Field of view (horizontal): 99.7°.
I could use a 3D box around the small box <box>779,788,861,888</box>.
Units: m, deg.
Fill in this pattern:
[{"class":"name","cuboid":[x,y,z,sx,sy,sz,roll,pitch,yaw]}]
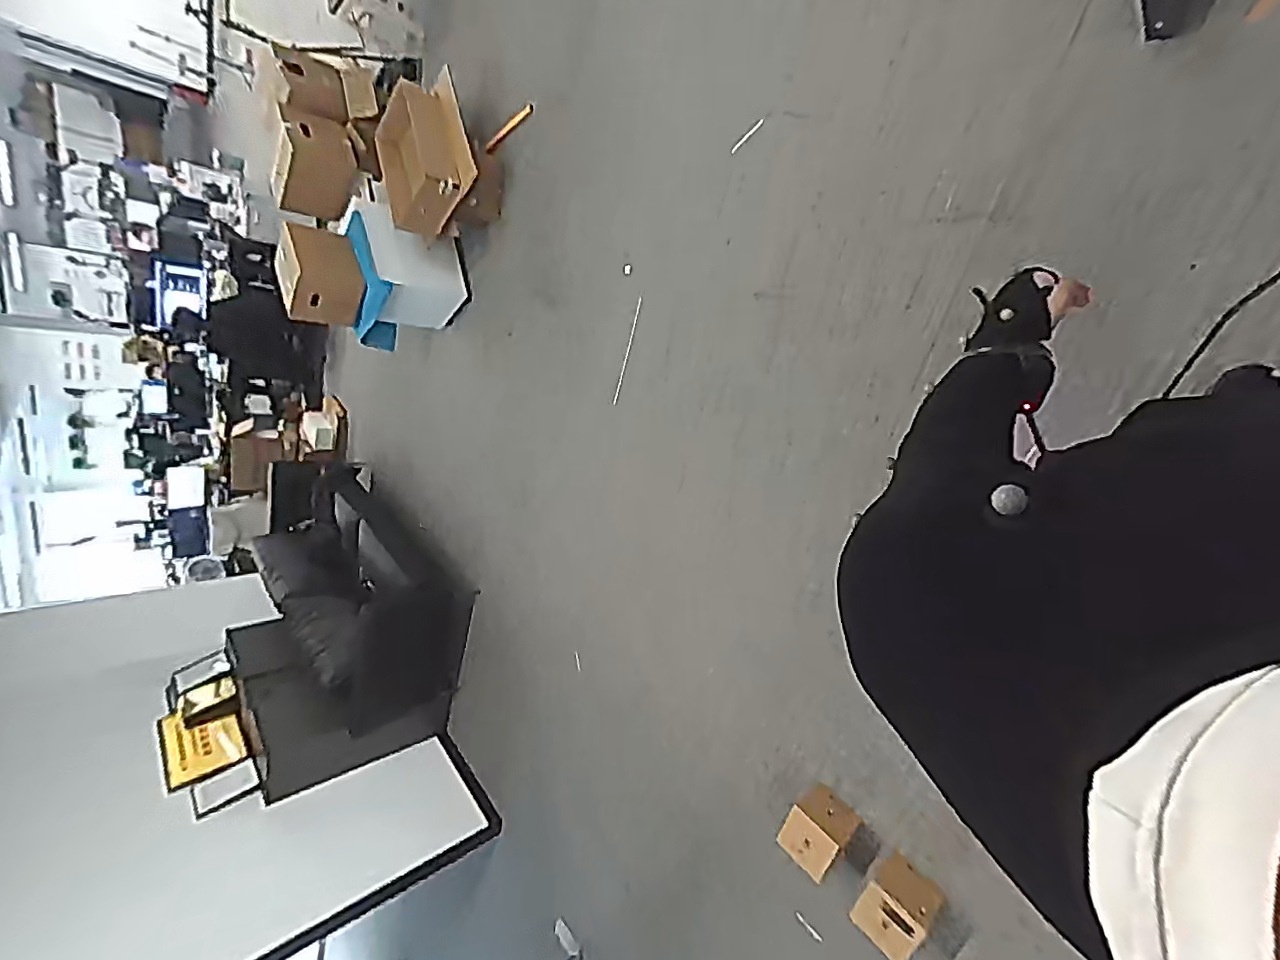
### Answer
[{"class":"small box","cuboid":[0.587,1.147,1.748,0.168,0.176,0.179,33,116,39]}]
